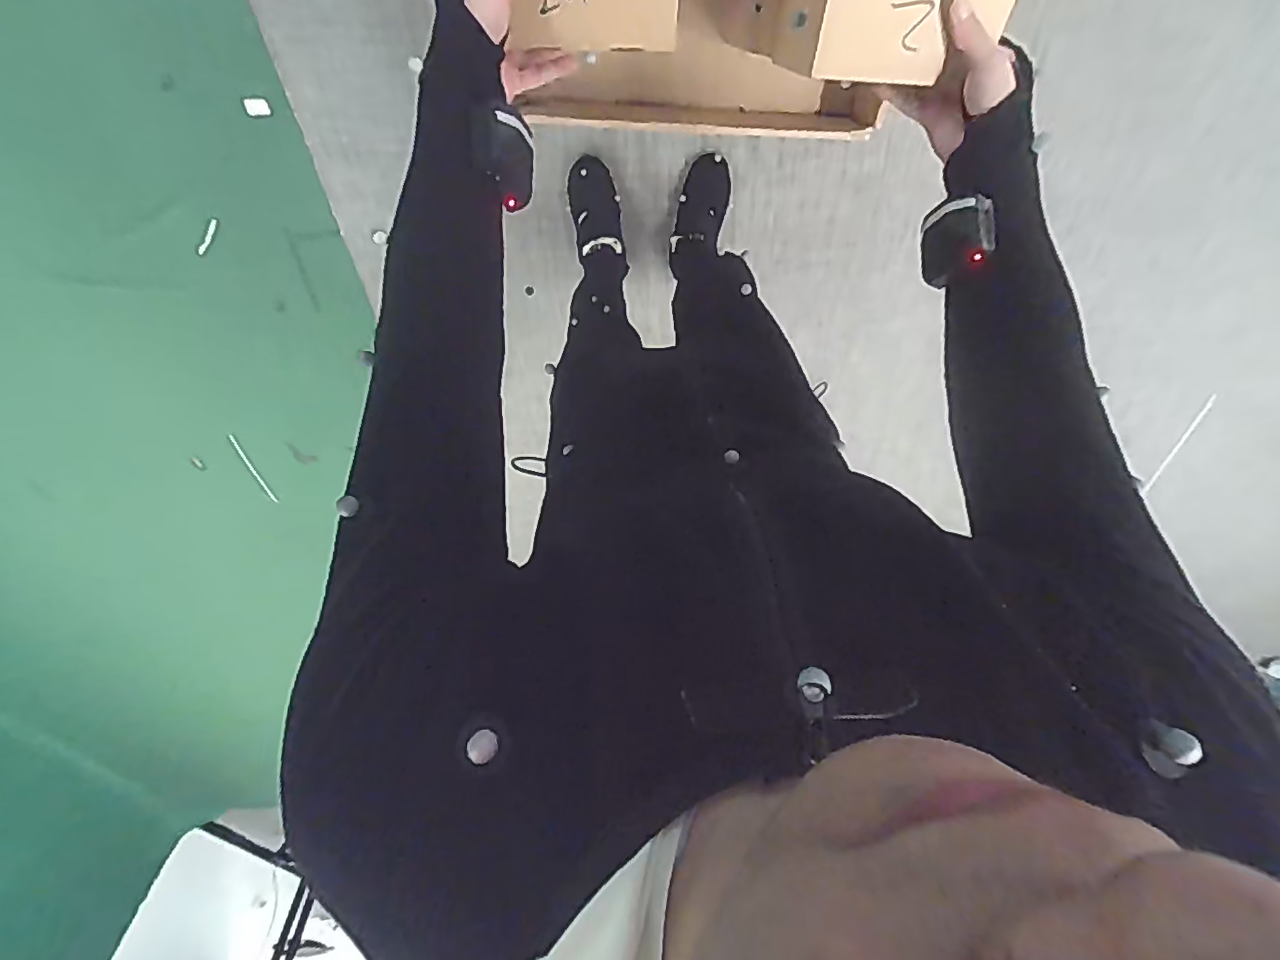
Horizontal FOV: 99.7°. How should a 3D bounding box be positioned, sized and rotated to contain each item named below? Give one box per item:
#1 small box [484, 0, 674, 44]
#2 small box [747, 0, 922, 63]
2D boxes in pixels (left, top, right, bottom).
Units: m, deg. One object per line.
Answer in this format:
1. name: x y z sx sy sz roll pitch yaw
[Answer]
1. small box: -0.052 -0.508 0.487 0.168 0.176 0.179 0 131 0
2. small box: 0.226 -0.600 0.620 0.168 0.176 0.179 2 130 -3
